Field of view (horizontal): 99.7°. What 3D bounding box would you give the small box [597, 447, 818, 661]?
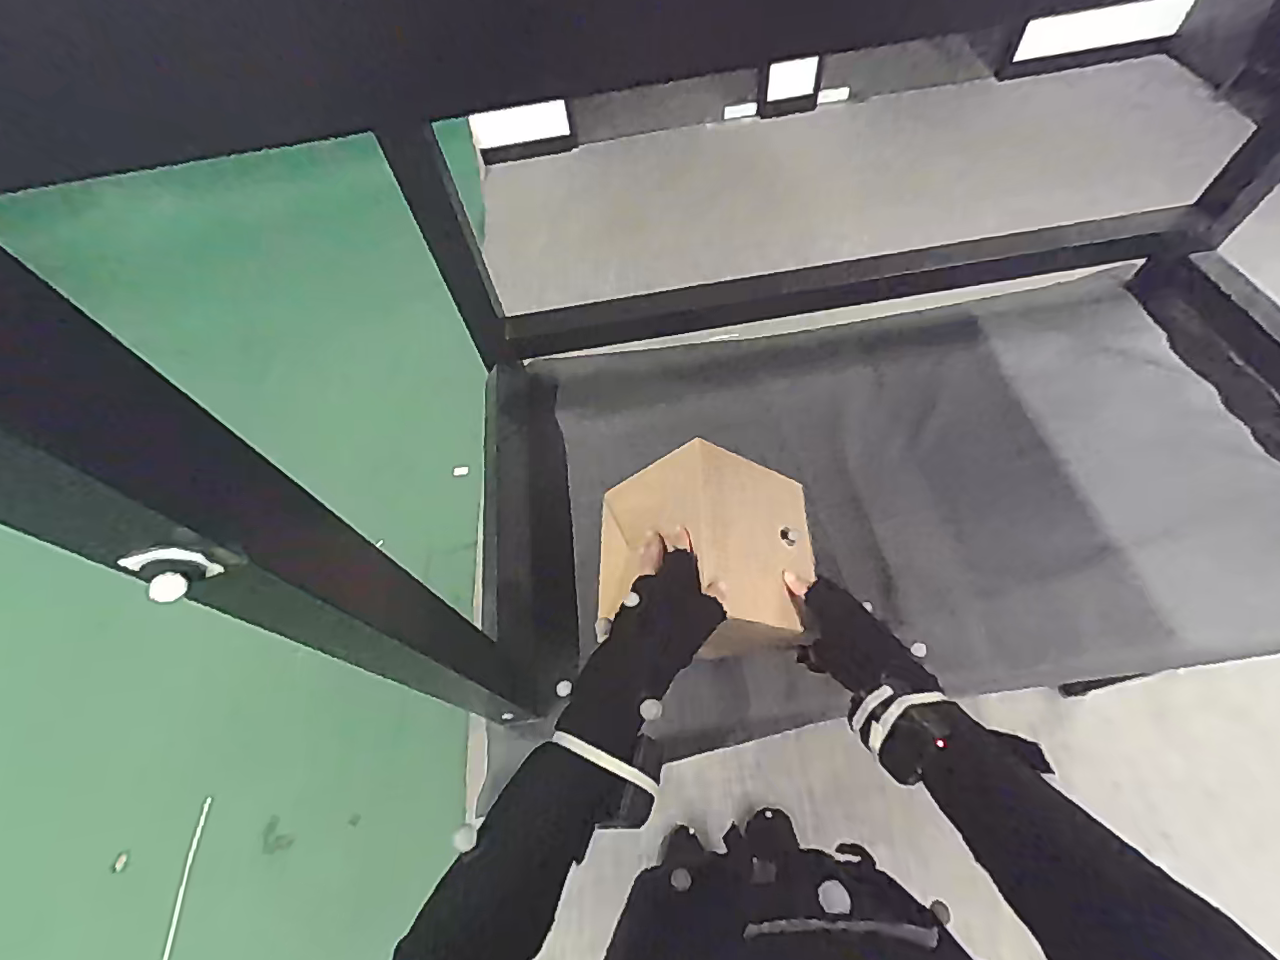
[{"bbox_3d":[0.065,0.088,0.596,0.176,0.168,0.179,21,54,-33],"label":"small box"}]
